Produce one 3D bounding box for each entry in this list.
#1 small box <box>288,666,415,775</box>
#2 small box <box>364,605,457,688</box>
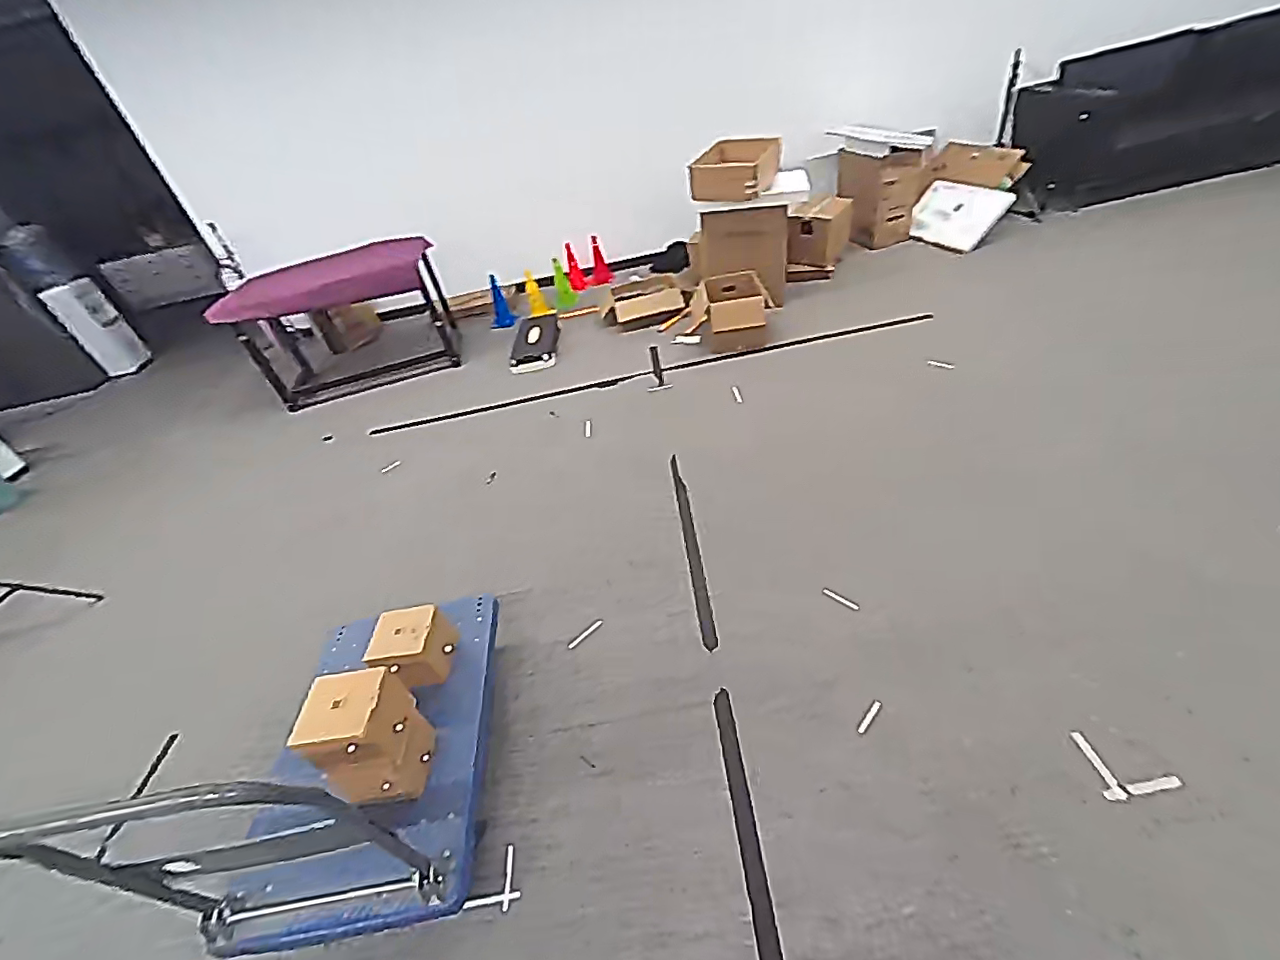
[{"bbox_3d":[-0.657,0.560,1.255,0.179,0.176,0.168,-9,39,2],"label":"small box"},{"bbox_3d":[-0.669,0.494,1.596,0.179,0.176,0.168,-9,40,5],"label":"small box"}]
